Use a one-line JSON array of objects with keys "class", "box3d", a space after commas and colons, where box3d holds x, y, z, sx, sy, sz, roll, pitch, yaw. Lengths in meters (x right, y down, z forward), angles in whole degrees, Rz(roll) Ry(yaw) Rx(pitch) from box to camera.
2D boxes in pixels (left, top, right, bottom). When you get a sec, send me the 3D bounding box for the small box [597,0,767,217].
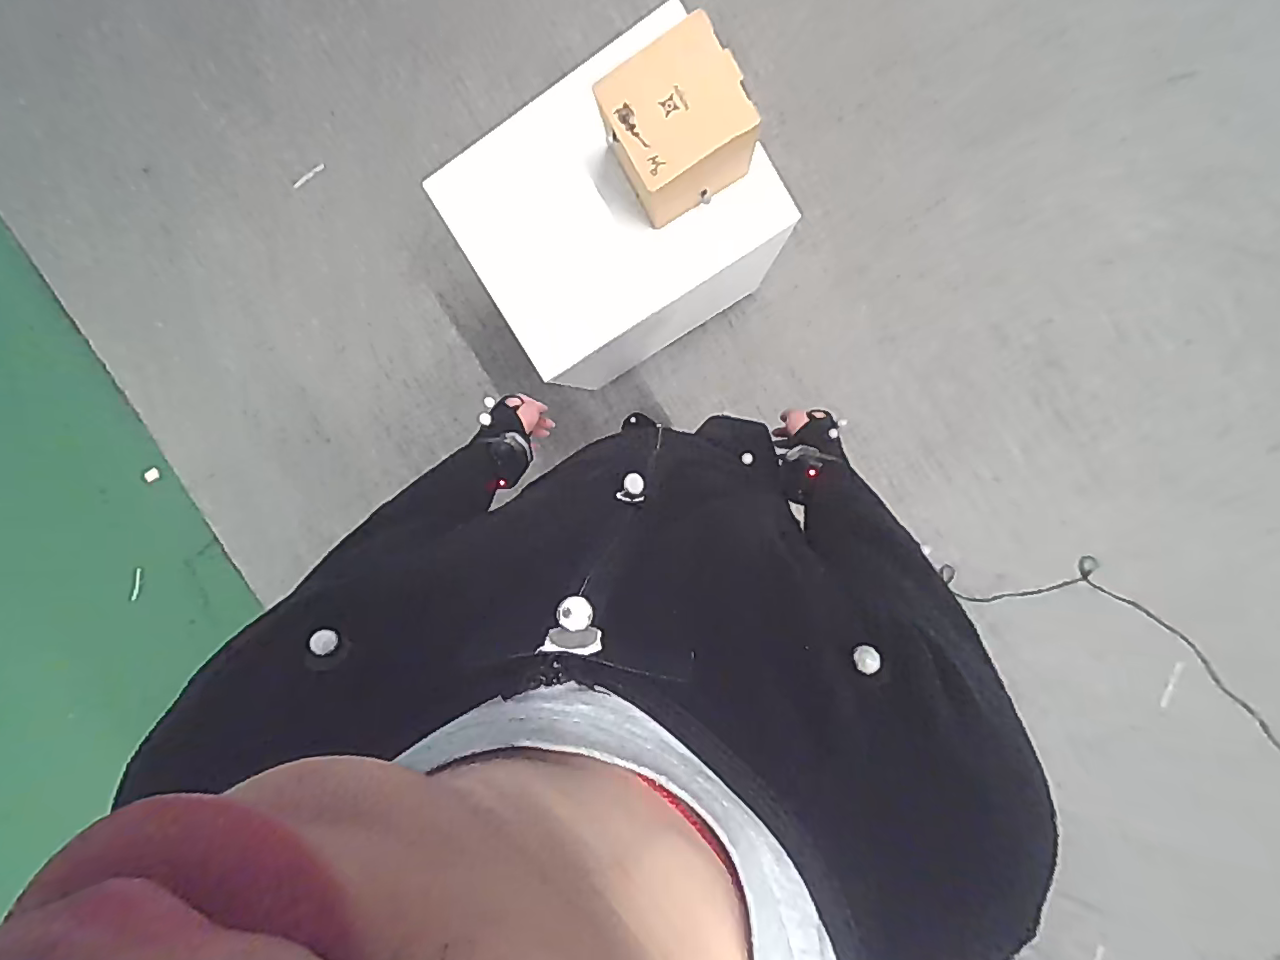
[{"class": "small box", "box3d": [0.059, -0.522, 0.787, 0.179, 0.176, 0.168, -29, 96, 8]}]
